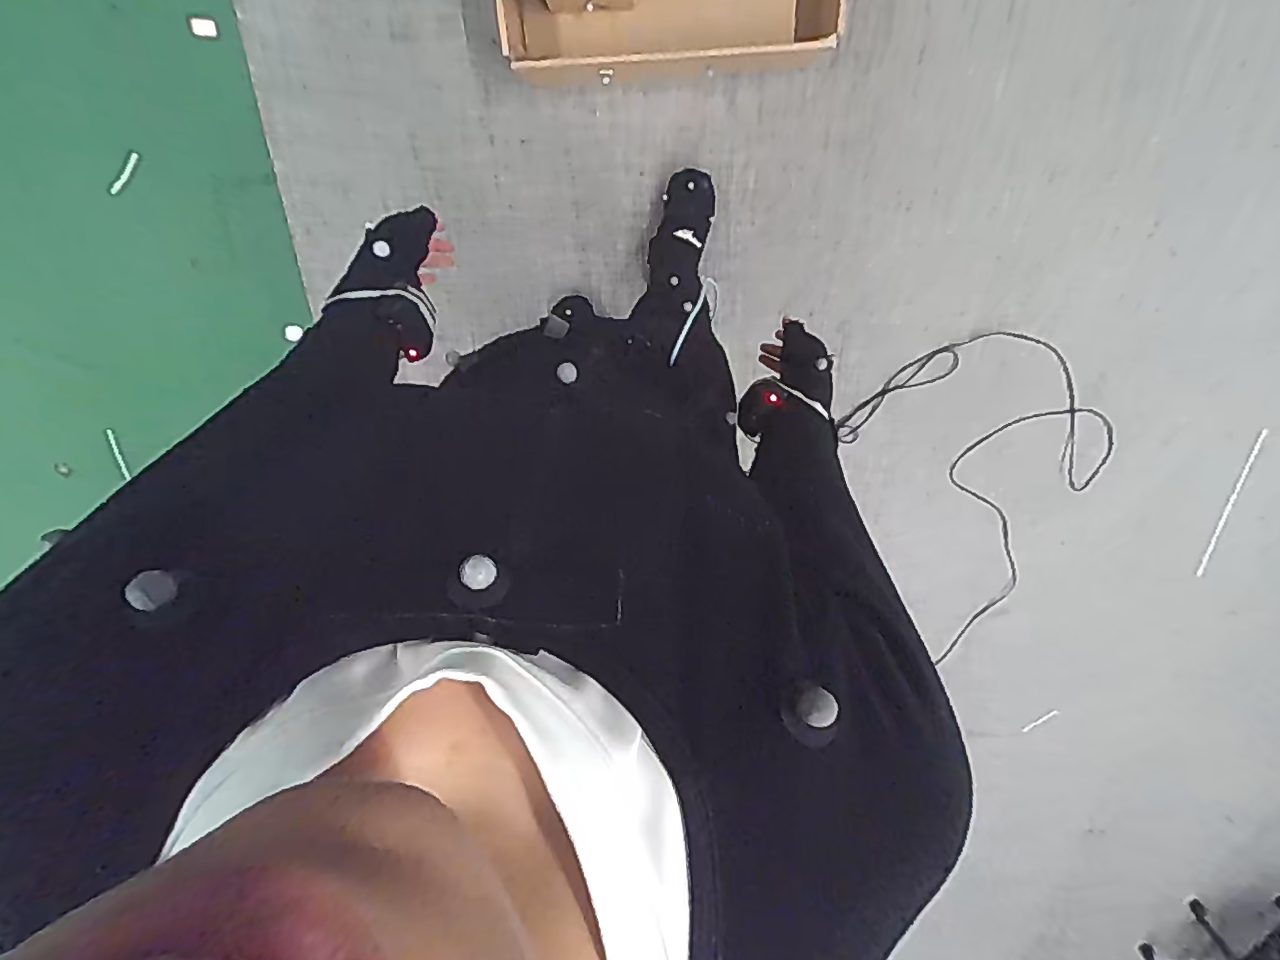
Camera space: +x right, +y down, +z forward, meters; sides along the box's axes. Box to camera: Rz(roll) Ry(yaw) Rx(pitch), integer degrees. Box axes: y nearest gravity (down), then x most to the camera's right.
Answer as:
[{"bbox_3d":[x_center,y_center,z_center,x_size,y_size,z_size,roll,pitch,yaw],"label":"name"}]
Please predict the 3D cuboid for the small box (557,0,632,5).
[{"bbox_3d":[-0.089,-0.969,0.938,0.168,0.176,0.179,-1,114,0],"label":"small box"}]
